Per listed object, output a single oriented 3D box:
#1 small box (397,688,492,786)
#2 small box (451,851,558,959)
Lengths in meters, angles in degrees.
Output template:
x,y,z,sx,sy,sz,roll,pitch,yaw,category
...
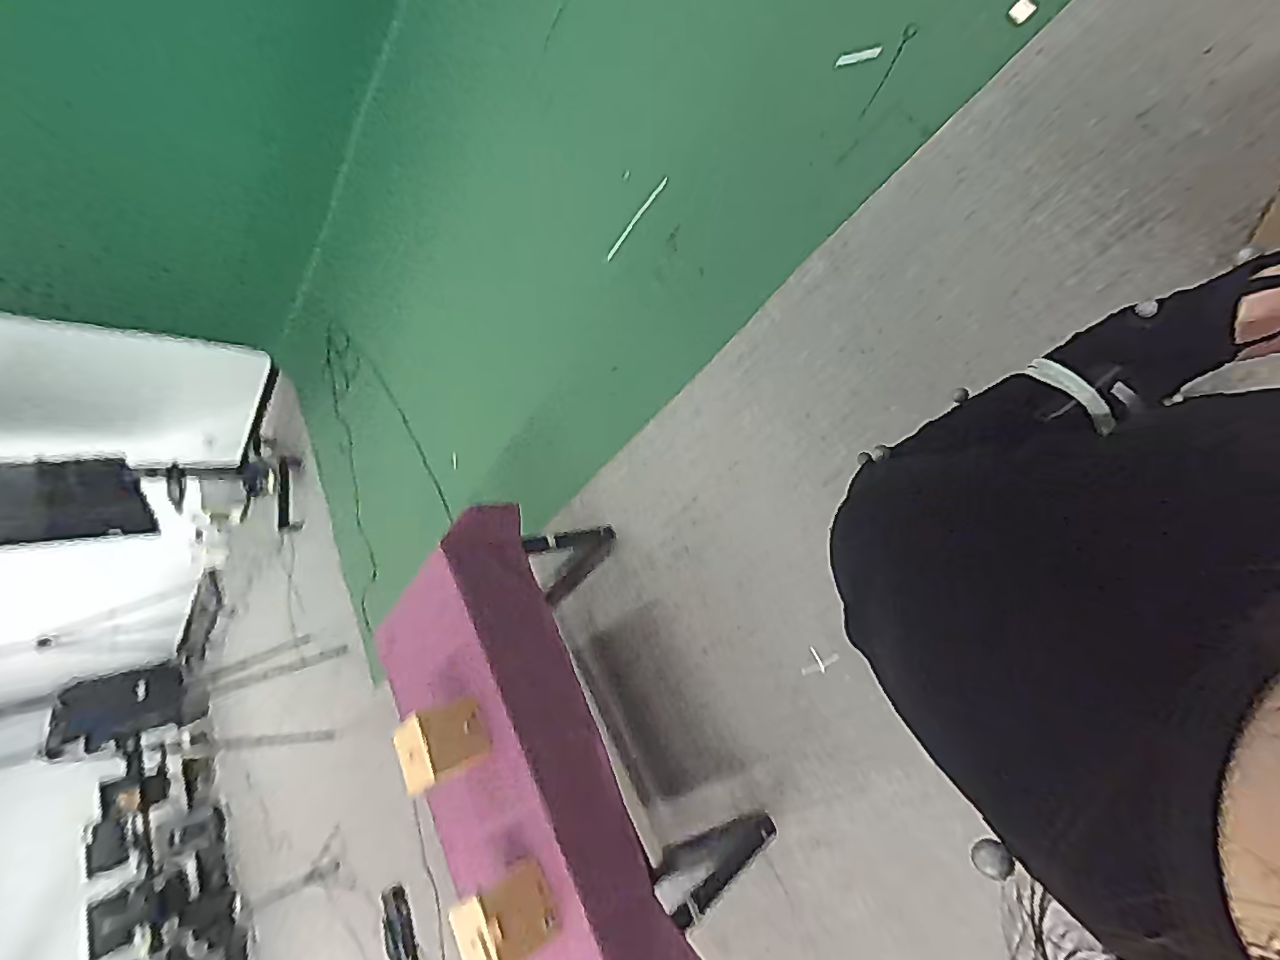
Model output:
x,y,z,sx,sy,sz,roll,pitch,yaw,category
-0.530,0.695,1.469,0.179,0.176,0.168,-43,65,34,small box
-0.318,1.031,1.296,0.179,0.176,0.168,-48,62,33,small box
